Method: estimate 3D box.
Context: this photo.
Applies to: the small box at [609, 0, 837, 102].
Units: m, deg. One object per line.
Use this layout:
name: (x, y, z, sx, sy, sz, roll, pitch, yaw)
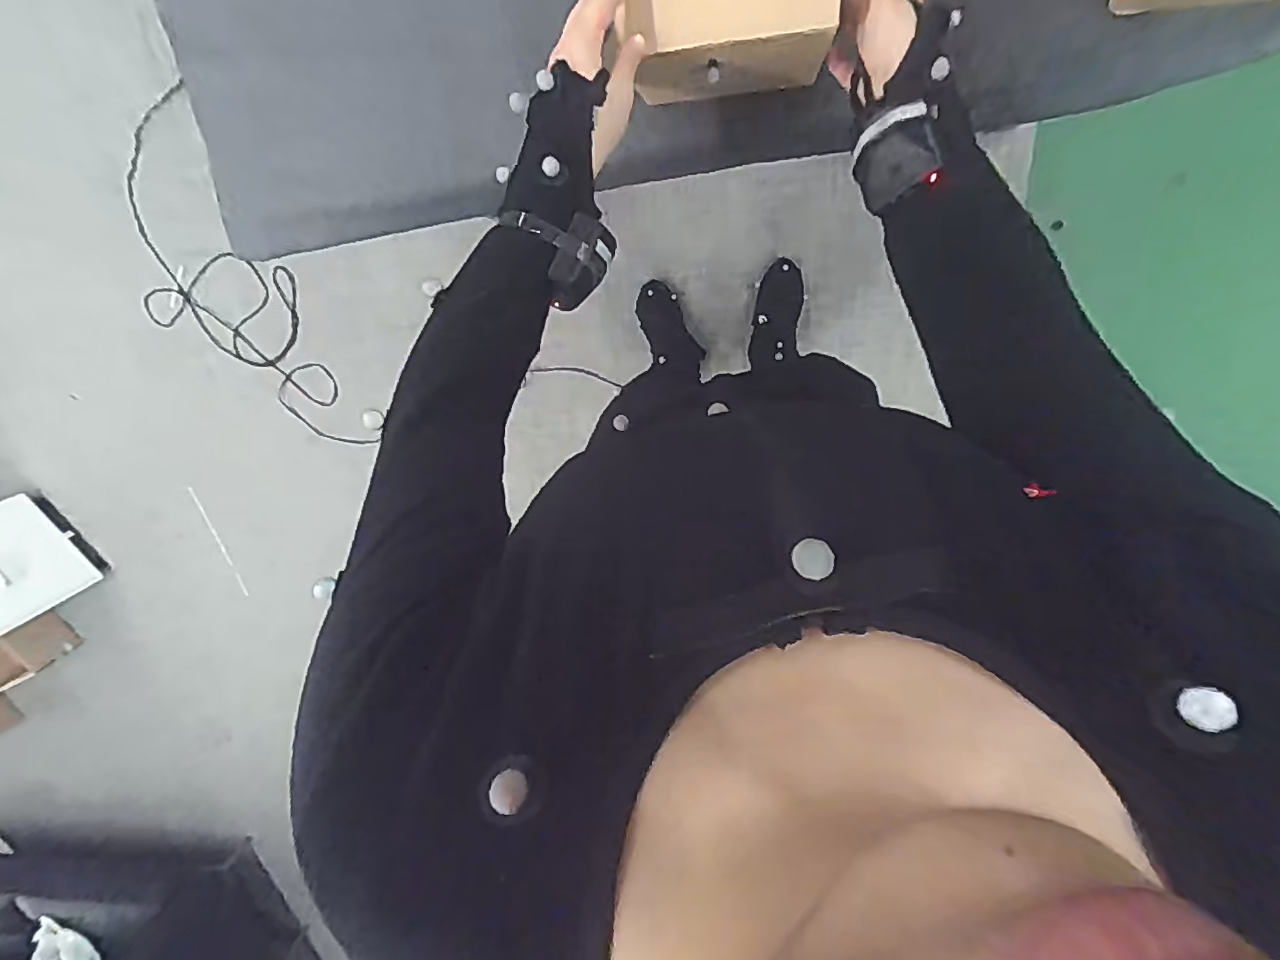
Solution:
small box: (0.072, -0.443, 0.462, 0.179, 0.176, 0.168, 0, 115, 11)
